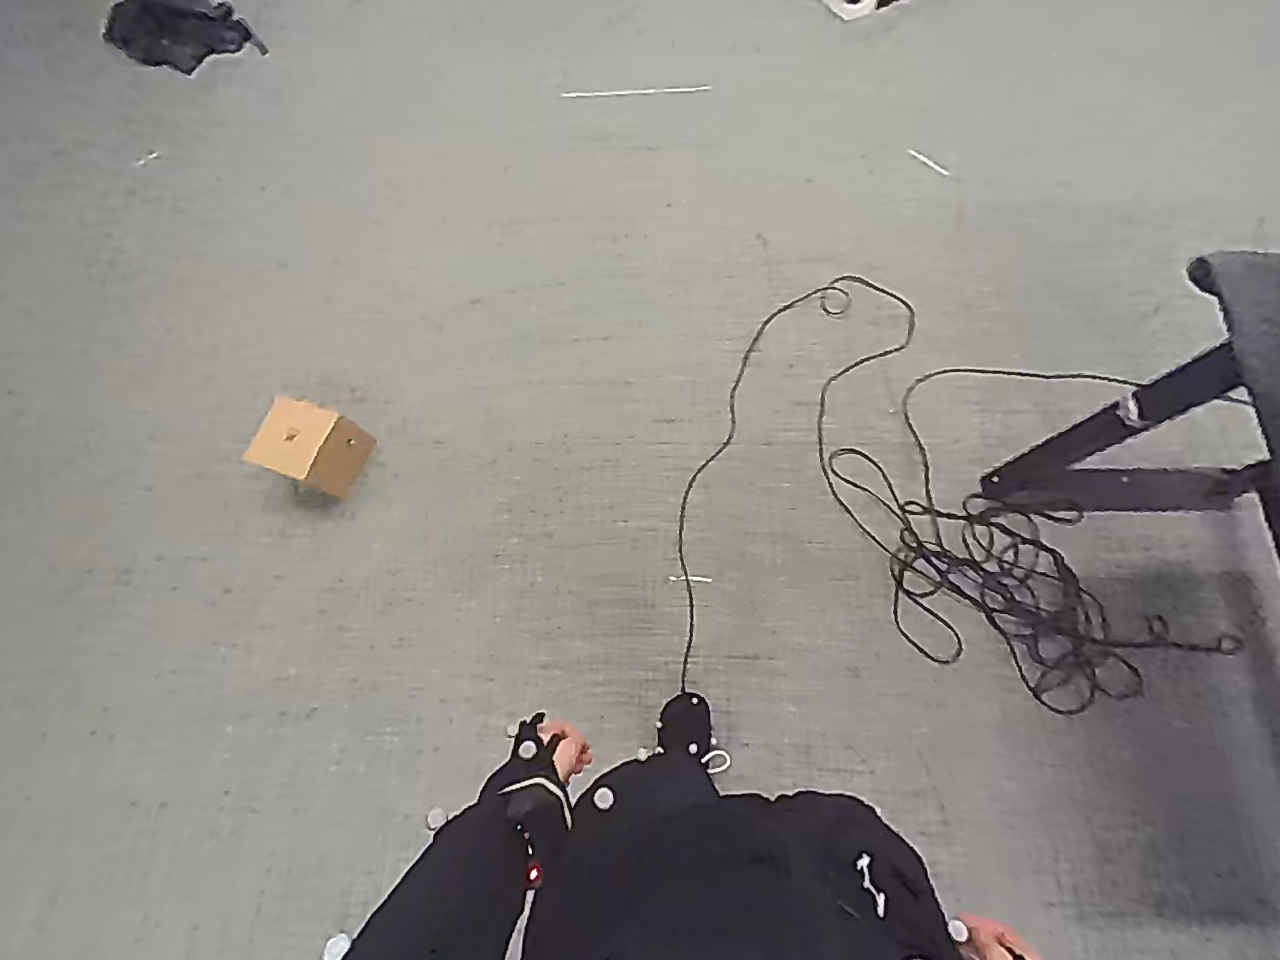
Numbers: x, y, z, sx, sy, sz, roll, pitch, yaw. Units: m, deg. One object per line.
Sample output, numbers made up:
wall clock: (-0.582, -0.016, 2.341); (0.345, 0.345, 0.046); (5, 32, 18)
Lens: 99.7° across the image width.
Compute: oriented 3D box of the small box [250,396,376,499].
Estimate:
small box: (-0.779, -0.073, 1.314); (0.168, 0.176, 0.179); (17, 75, 9)
